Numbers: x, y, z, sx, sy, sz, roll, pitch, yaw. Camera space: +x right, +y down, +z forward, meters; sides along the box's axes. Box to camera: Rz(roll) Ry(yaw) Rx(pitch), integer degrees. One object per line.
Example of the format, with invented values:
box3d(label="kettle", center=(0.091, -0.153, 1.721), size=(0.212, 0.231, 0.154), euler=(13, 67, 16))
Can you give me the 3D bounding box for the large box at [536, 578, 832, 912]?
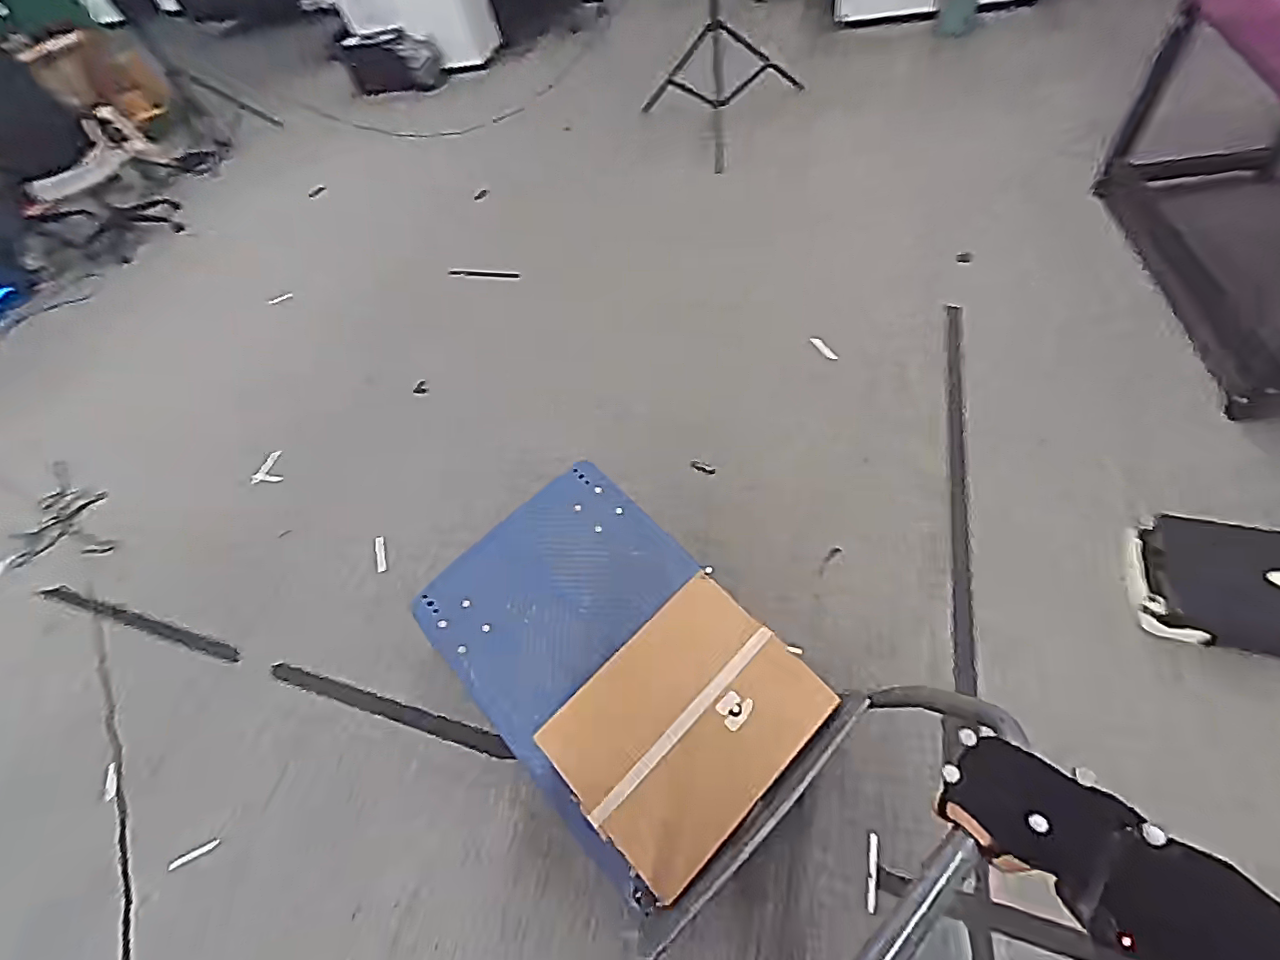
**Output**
box3d(label="large box", center=(0.080, 0.466, 1.009), size=(0.408, 0.320, 0.320), euler=(-42, 69, -16))
